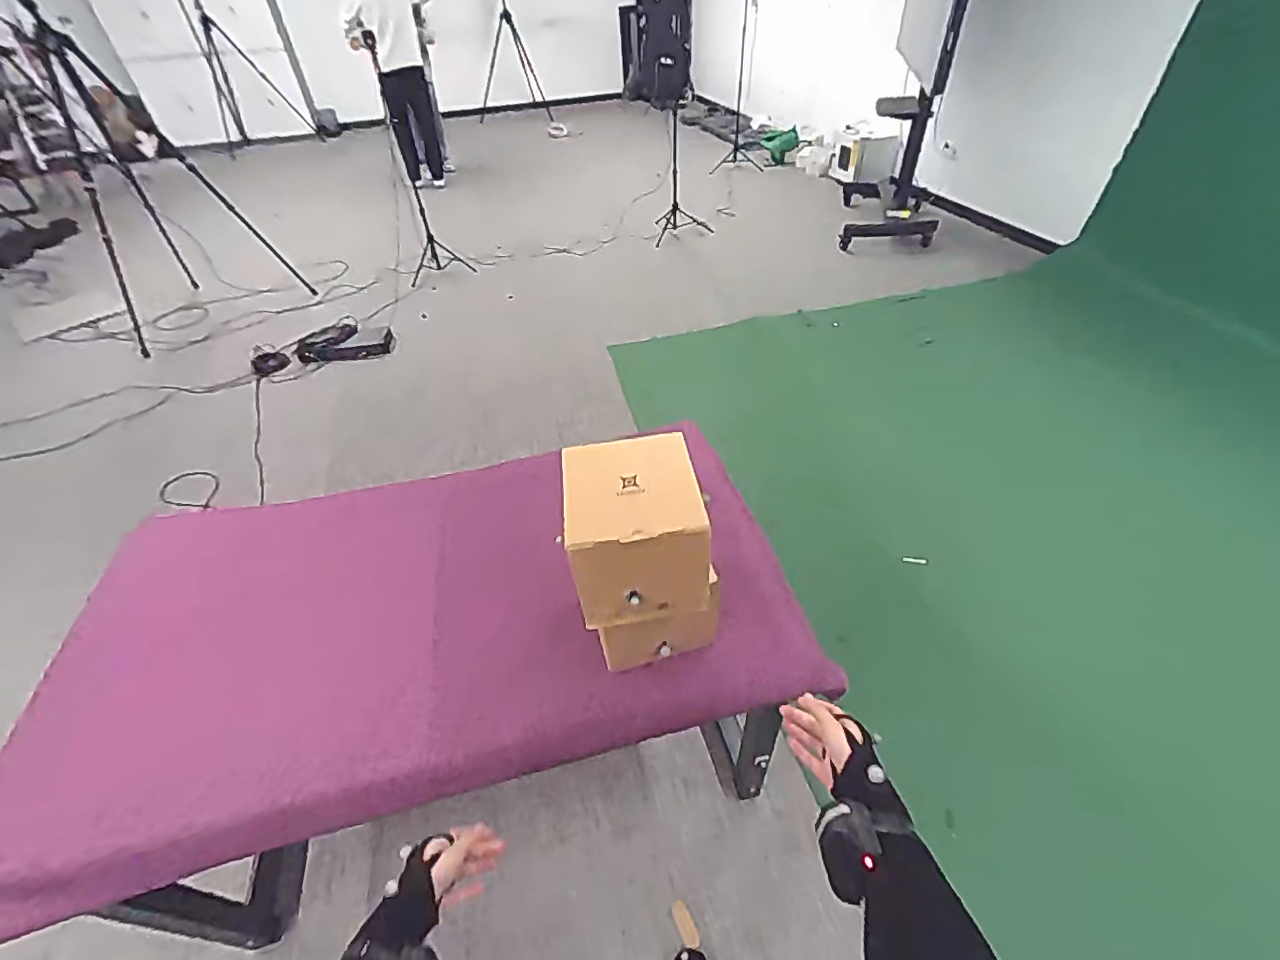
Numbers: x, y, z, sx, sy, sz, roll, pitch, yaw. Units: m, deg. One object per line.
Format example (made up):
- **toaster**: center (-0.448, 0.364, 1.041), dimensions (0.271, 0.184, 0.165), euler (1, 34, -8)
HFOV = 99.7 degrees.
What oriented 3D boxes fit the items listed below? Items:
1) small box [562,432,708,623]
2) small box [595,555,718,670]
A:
- **small box**: center (-0.010, 0.061, 0.716), dimensions (0.168, 0.176, 0.179), euler (-8, 43, -3)
- **small box**: center (0.009, 0.165, 0.842), dimensions (0.179, 0.176, 0.168), euler (-13, 42, -9)
